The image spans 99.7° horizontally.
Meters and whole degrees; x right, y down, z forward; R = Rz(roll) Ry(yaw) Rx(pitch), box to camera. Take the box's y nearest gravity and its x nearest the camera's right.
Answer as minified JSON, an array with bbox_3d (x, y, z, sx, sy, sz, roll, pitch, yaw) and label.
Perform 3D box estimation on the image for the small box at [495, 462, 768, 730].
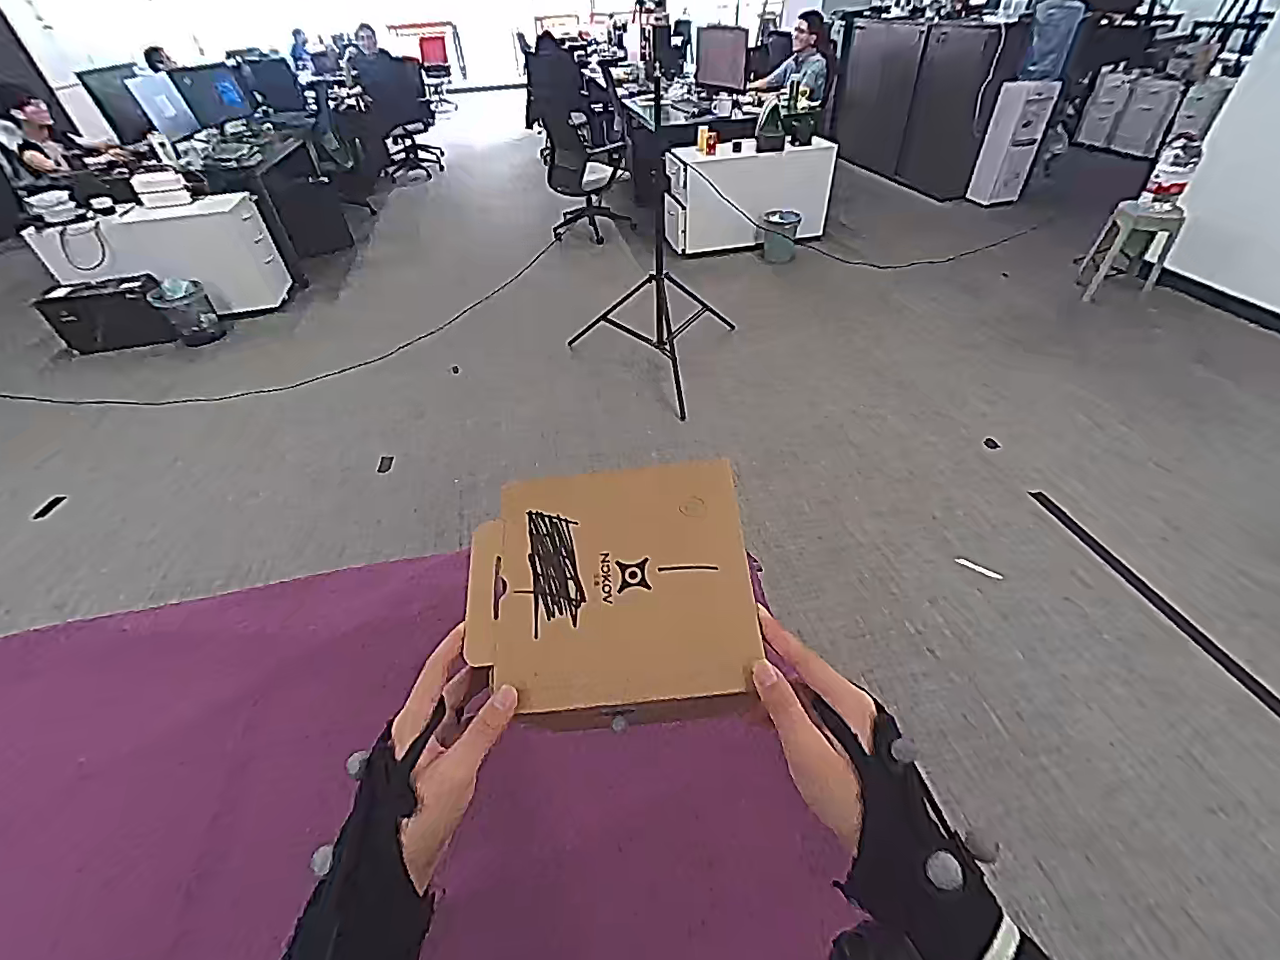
[{"bbox_3d":[-0.005,0.105,0.444,0.179,0.176,0.168,-6,61,1],"label":"small box"}]
